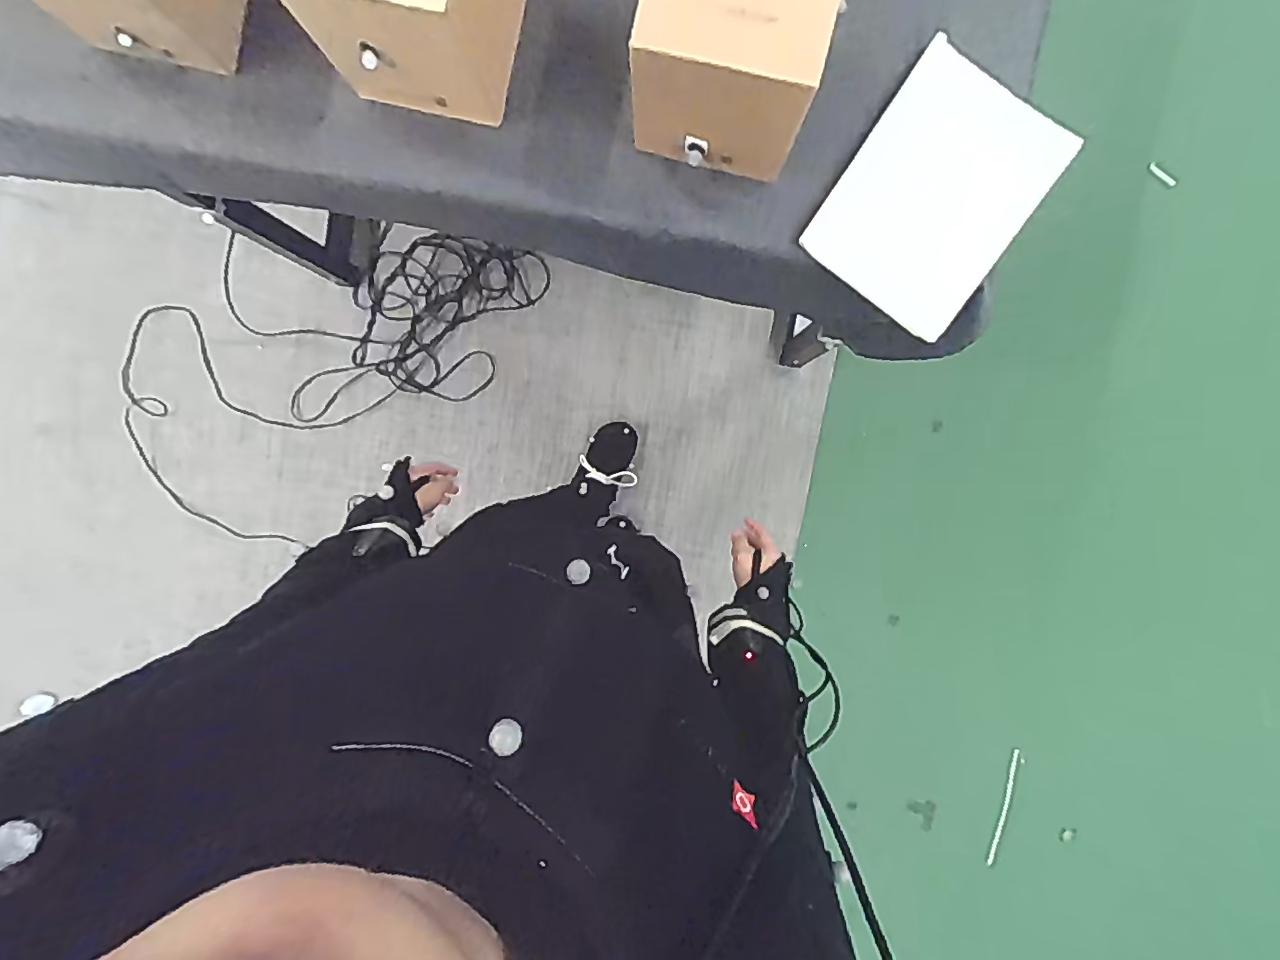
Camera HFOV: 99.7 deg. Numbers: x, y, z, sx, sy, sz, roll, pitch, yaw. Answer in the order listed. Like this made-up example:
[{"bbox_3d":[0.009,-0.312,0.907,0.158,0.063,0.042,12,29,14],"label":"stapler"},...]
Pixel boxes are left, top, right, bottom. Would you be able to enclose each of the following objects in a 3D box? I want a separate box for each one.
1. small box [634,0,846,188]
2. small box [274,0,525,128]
[{"bbox_3d":[0.094,-0.424,0.525,0.168,0.176,0.179,14,94,2],"label":"small box"},{"bbox_3d":[-0.221,-0.488,0.527,0.168,0.176,0.179,12,92,1],"label":"small box"}]
